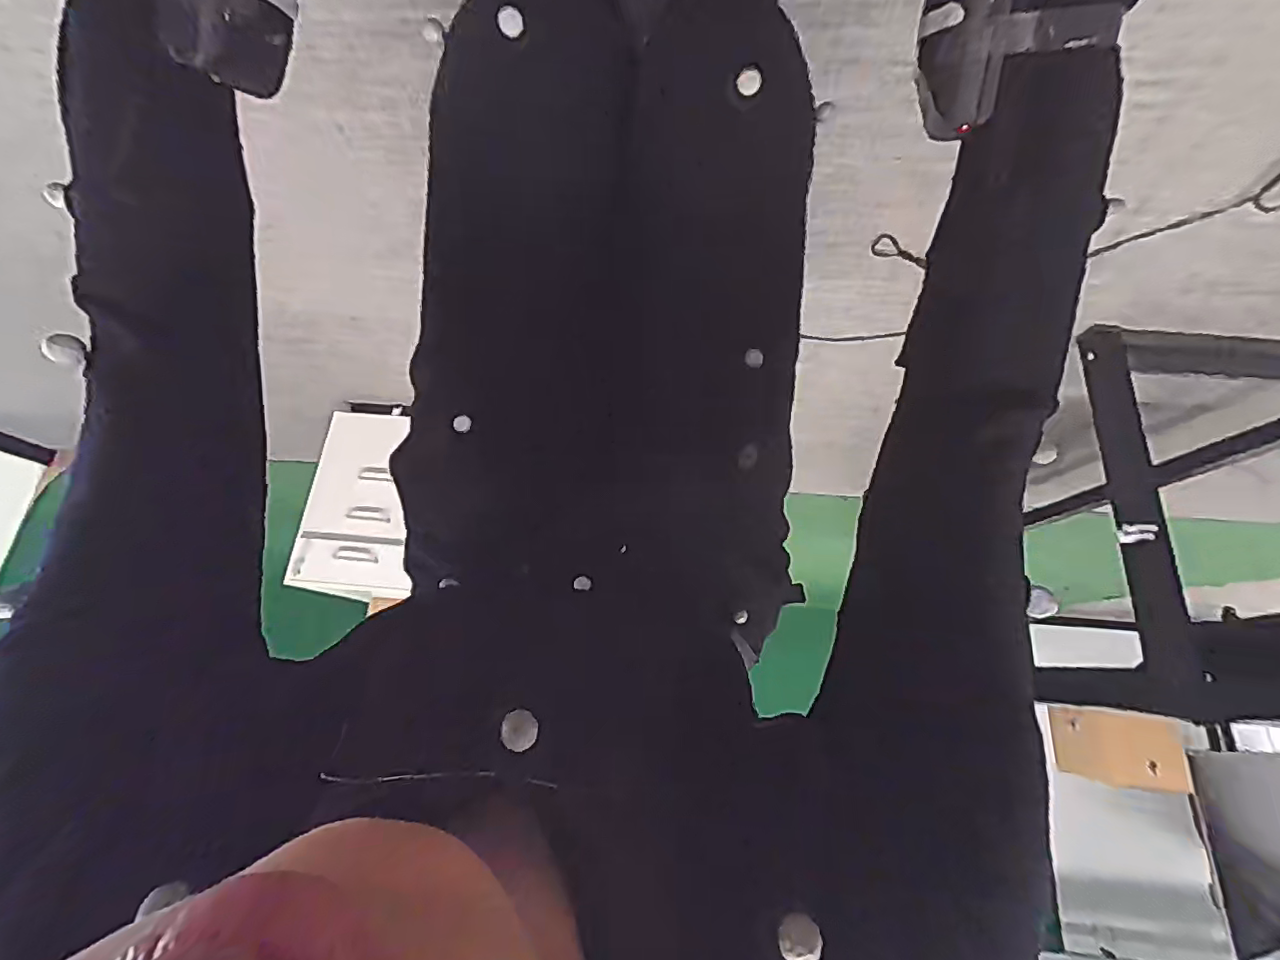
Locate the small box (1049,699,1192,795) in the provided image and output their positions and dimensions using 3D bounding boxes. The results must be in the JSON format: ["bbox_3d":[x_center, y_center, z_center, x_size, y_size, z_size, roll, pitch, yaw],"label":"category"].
[{"bbox_3d":[1.101,0.611,1.253,0.179,0.176,0.168,5,161,1],"label":"small box"}]
